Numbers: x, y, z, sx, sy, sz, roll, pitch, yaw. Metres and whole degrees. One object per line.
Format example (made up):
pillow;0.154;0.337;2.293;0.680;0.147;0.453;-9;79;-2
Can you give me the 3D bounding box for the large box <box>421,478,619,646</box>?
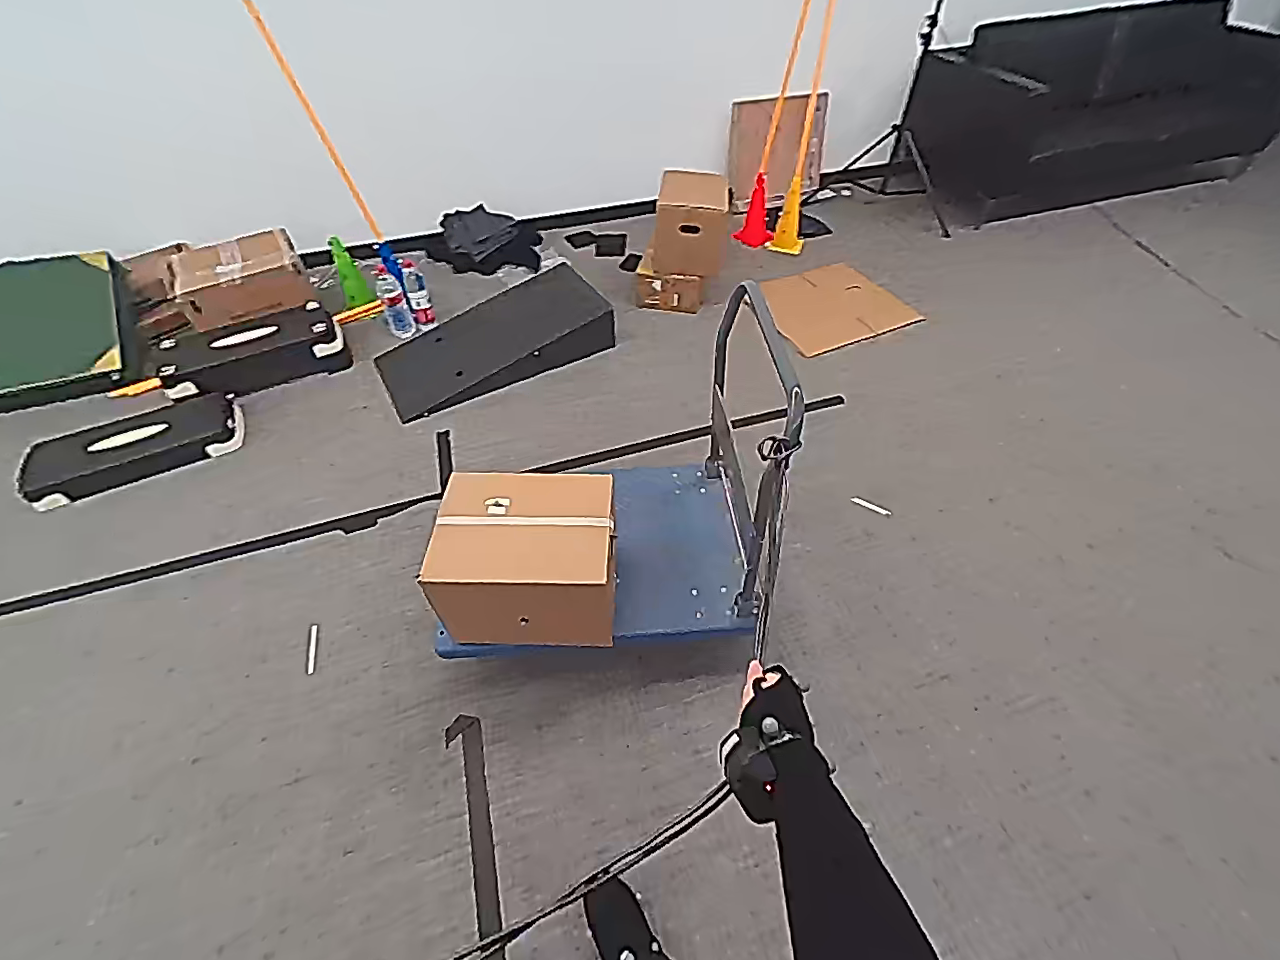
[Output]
large box;-0.260;0.209;1.345;0.408;0.320;0.320;0;48;1
